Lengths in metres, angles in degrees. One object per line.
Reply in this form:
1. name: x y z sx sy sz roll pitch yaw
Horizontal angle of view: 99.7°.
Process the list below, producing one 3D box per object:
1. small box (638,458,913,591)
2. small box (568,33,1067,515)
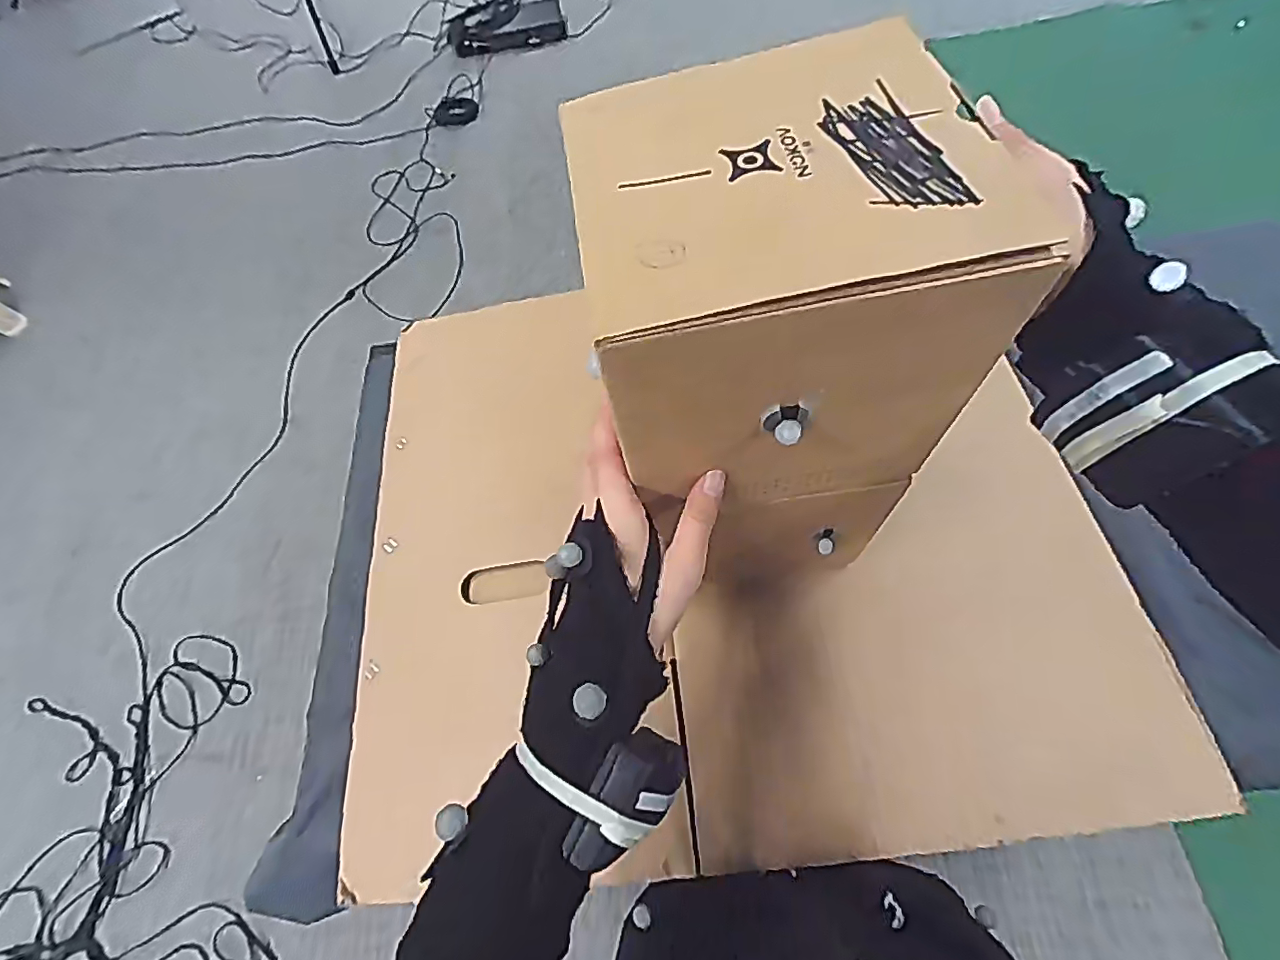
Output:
1. small box: 0.087 -0.019 0.447 0.179 0.176 0.168 -10 61 3
2. small box: 0.068 -0.096 0.303 0.179 0.176 0.168 -10 62 3
